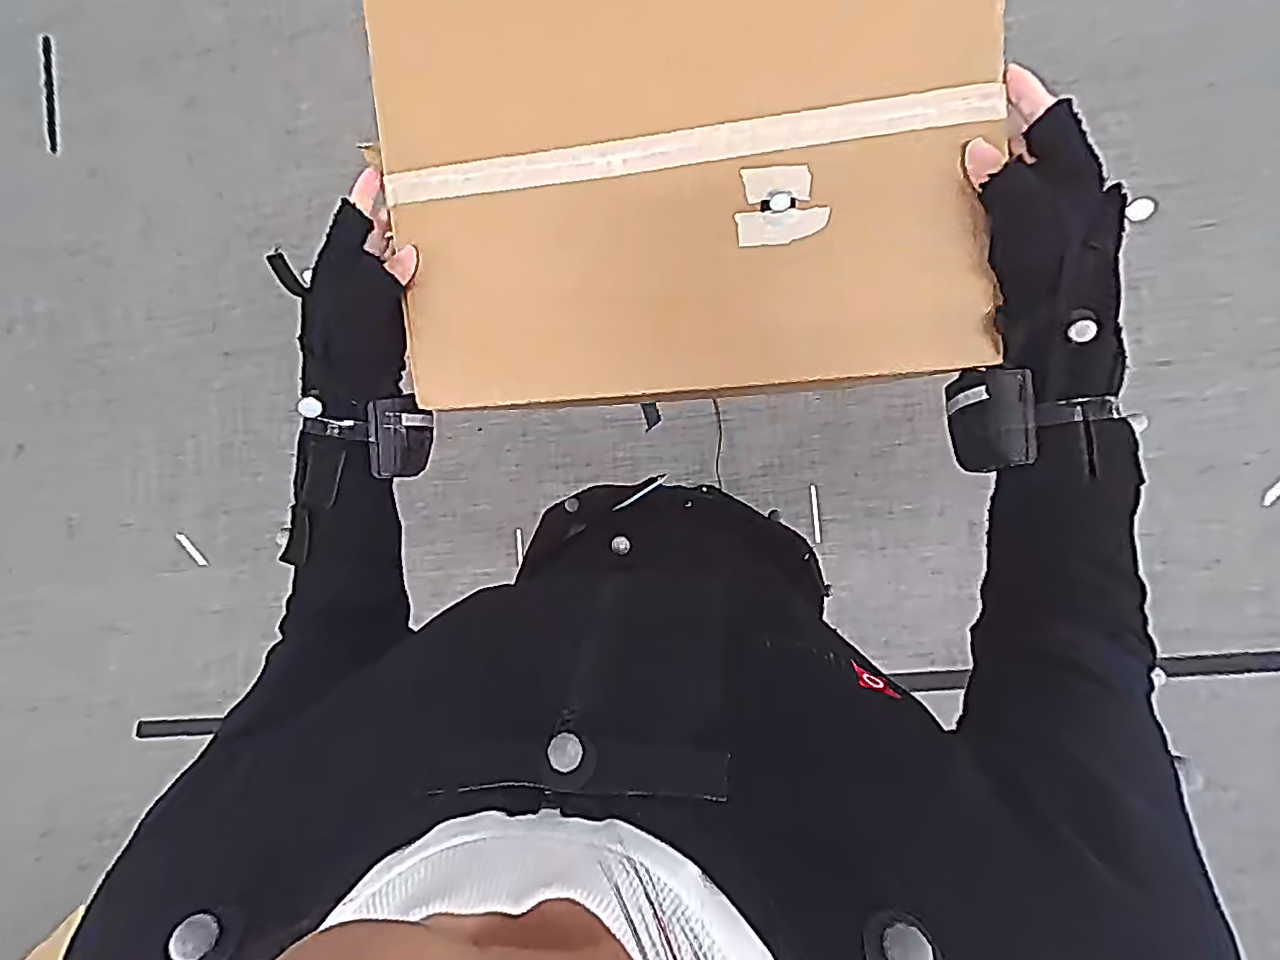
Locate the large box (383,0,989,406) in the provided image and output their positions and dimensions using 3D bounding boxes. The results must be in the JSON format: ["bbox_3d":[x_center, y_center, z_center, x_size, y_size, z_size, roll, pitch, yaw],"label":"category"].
[{"bbox_3d":[0.041,-0.243,0.517,0.408,0.320,0.320,-4,98,7],"label":"large box"}]
